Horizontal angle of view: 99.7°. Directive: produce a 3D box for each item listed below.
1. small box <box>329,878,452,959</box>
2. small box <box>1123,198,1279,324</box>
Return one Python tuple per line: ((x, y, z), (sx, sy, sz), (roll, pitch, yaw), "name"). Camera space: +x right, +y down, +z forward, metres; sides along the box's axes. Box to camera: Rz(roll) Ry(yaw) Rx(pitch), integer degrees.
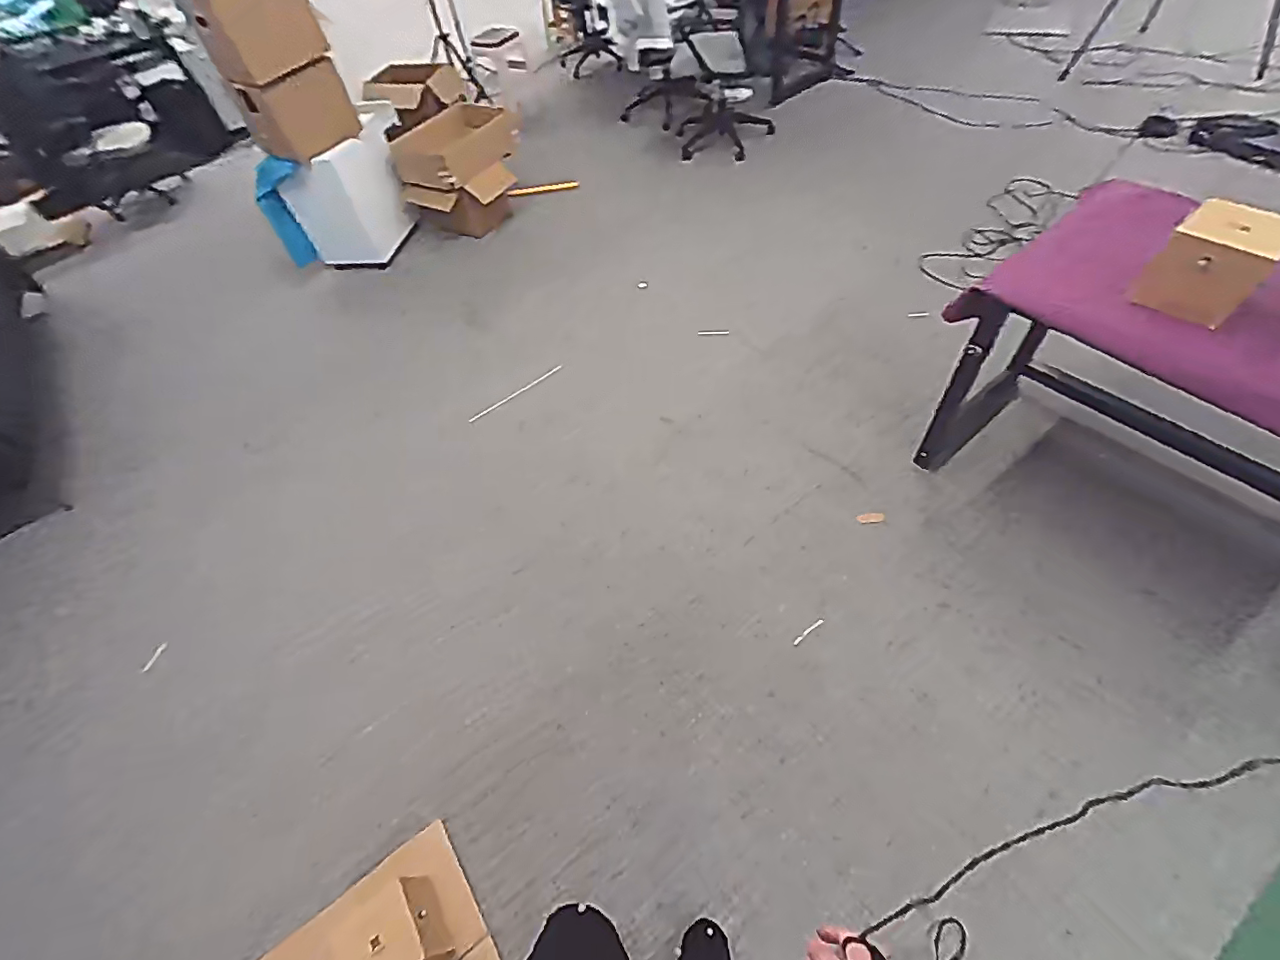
((-0.551, 1.031, 1.212), (0.168, 0.176, 0.179), (-33, 57, -16), "small box")
((1.207, -0.460, 1.155), (0.168, 0.176, 0.179), (-37, 57, -18), "small box")
